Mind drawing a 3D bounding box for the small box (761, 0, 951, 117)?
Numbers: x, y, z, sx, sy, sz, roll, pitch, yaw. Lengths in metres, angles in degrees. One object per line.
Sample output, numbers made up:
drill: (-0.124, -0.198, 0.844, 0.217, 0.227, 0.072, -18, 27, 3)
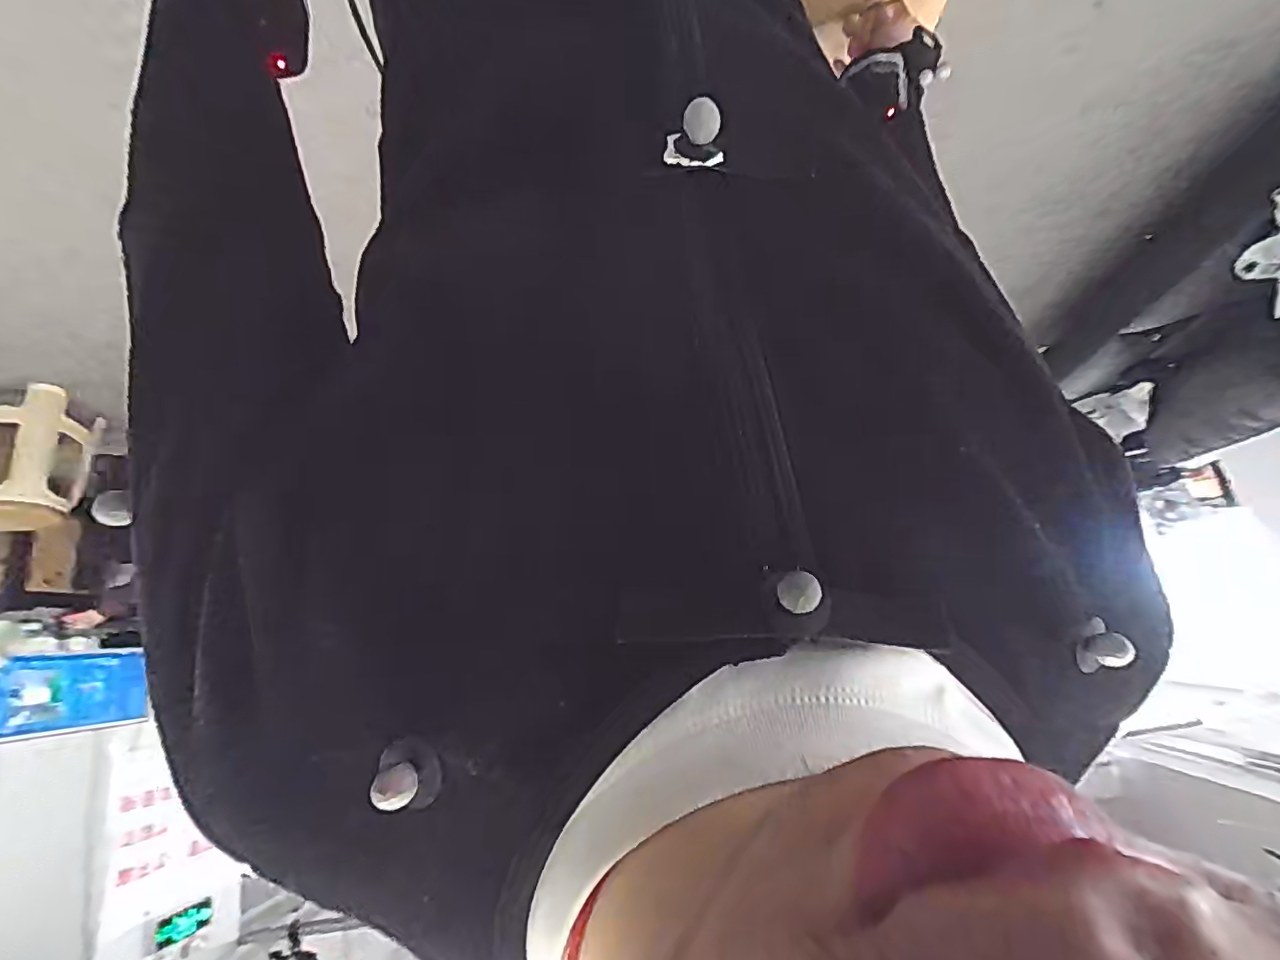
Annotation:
small box: (0.245, -0.567, 0.626, 0.168, 0.179, 0.176, -22, 176, 15)
